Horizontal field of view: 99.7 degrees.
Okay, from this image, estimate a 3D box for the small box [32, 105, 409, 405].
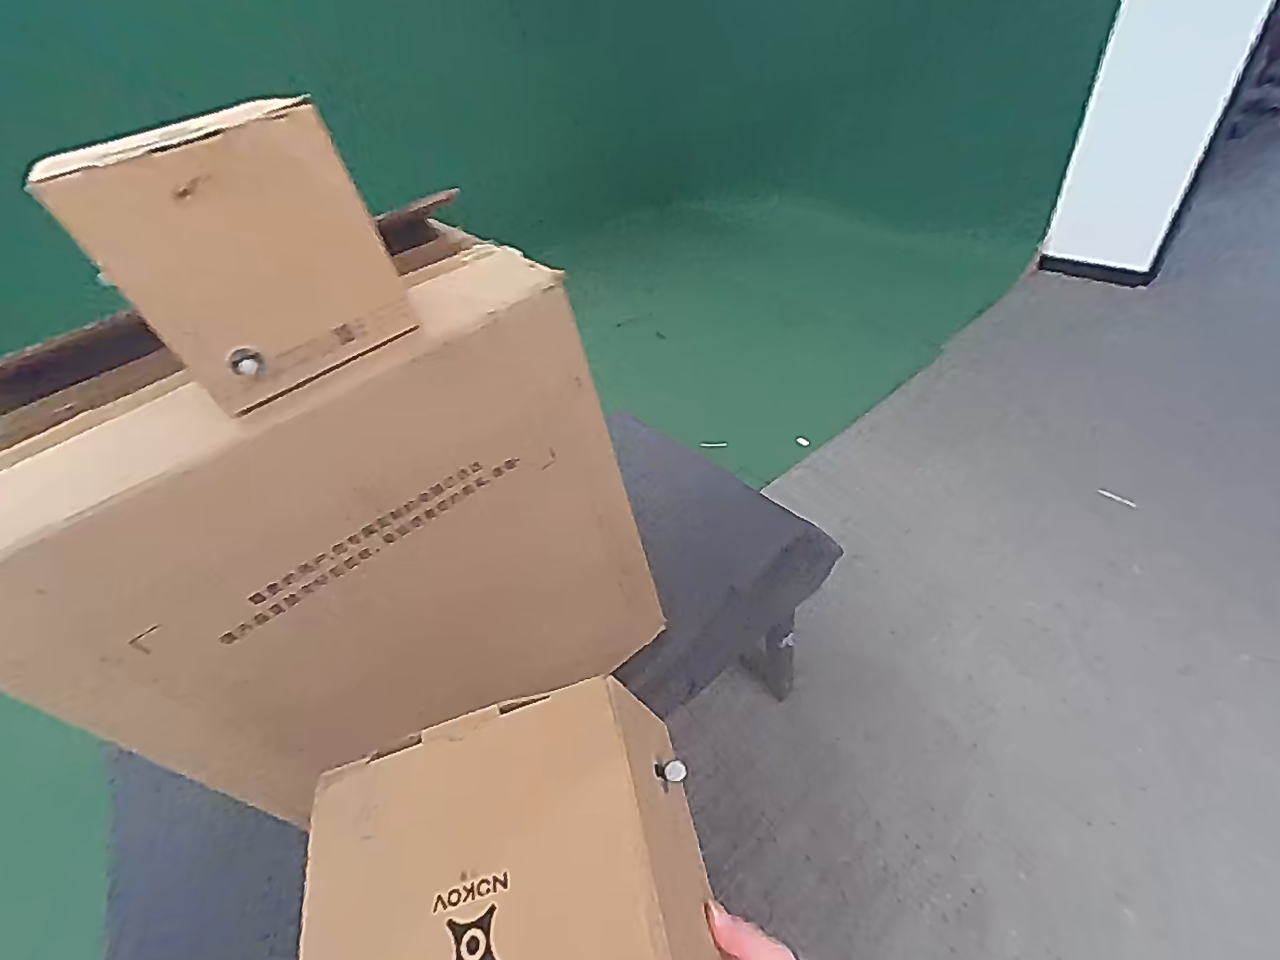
[{"bbox_3d":[-0.324,-0.185,0.447,0.168,0.176,0.179,-36,46,-22],"label":"small box"}]
